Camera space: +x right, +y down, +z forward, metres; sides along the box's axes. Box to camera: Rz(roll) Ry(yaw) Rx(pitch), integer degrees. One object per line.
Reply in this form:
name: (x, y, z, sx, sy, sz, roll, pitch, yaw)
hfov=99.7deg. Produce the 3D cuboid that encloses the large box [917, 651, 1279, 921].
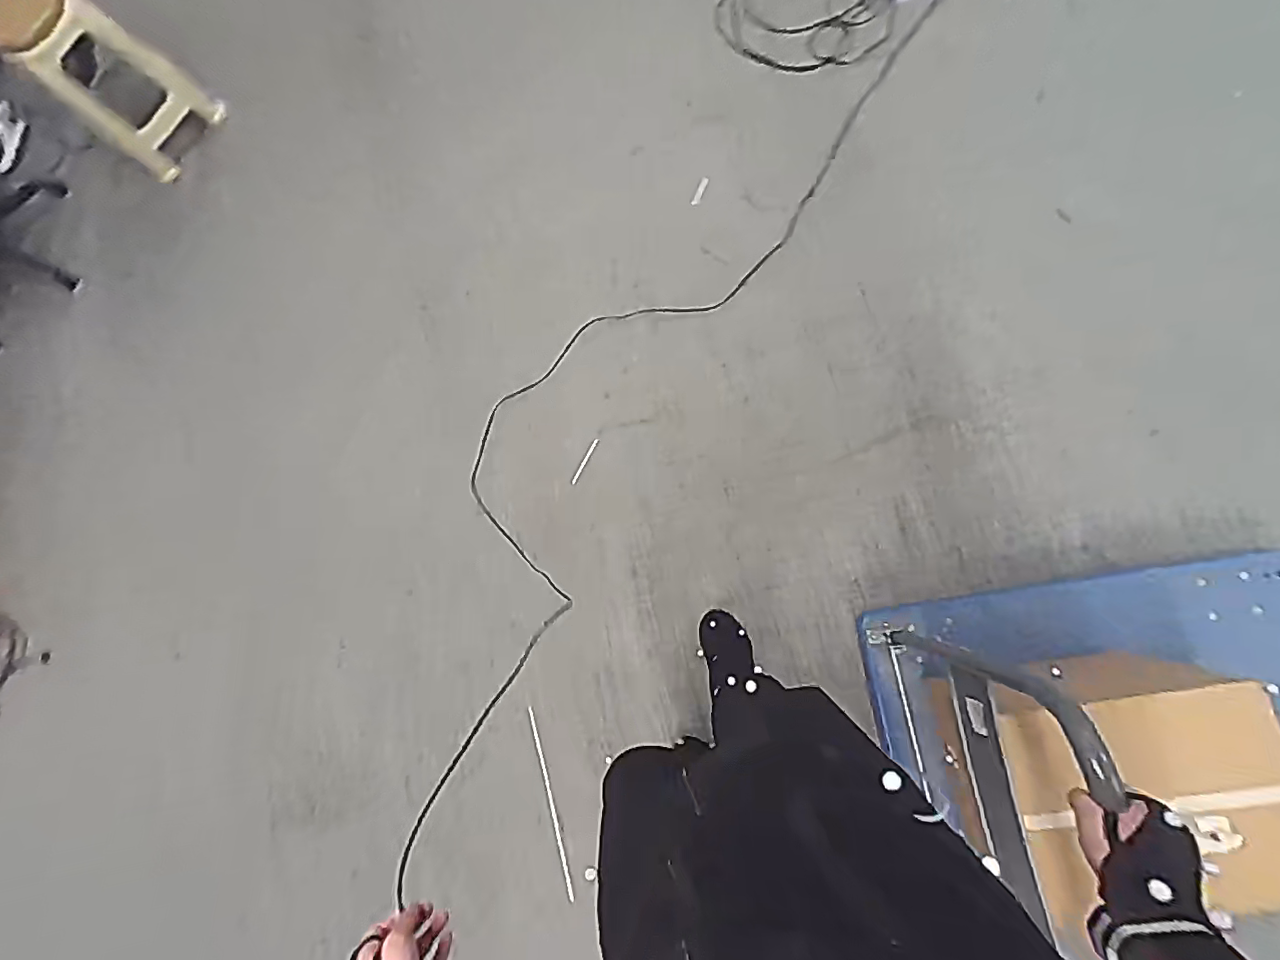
large box: (0.801, 0.519, 0.988, 0.408, 0.320, 0.320, -12, 80, 7)
